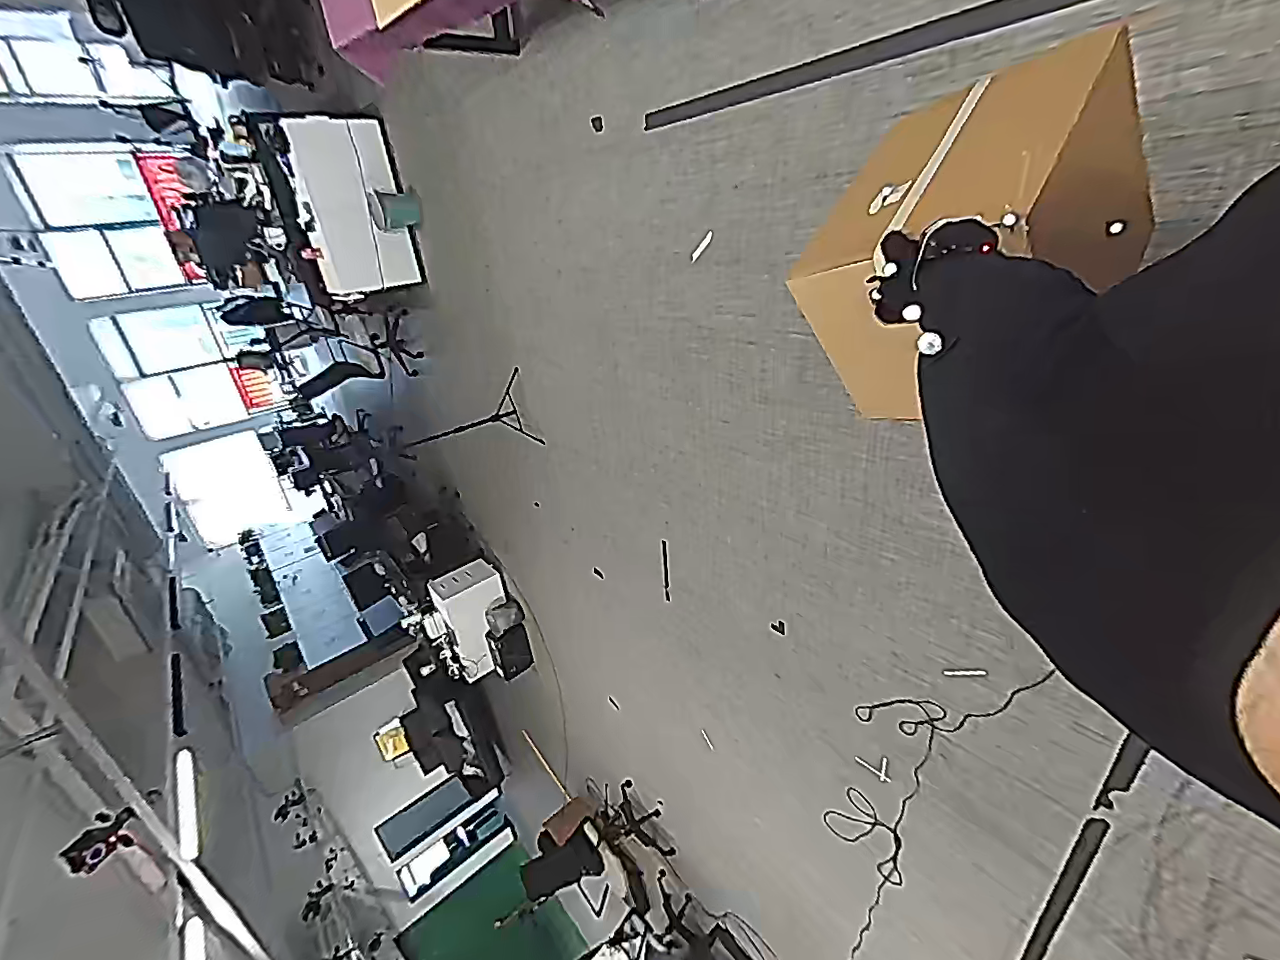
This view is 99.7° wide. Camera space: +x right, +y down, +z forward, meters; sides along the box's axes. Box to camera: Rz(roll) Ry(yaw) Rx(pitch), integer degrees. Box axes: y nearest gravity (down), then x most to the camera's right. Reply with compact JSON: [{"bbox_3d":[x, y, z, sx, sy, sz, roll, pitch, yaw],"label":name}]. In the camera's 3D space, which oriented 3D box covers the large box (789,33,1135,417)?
[{"bbox_3d":[0.505,-0.347,0.834,0.320,0.408,0.320,44,160,-30],"label":"large box"}]
